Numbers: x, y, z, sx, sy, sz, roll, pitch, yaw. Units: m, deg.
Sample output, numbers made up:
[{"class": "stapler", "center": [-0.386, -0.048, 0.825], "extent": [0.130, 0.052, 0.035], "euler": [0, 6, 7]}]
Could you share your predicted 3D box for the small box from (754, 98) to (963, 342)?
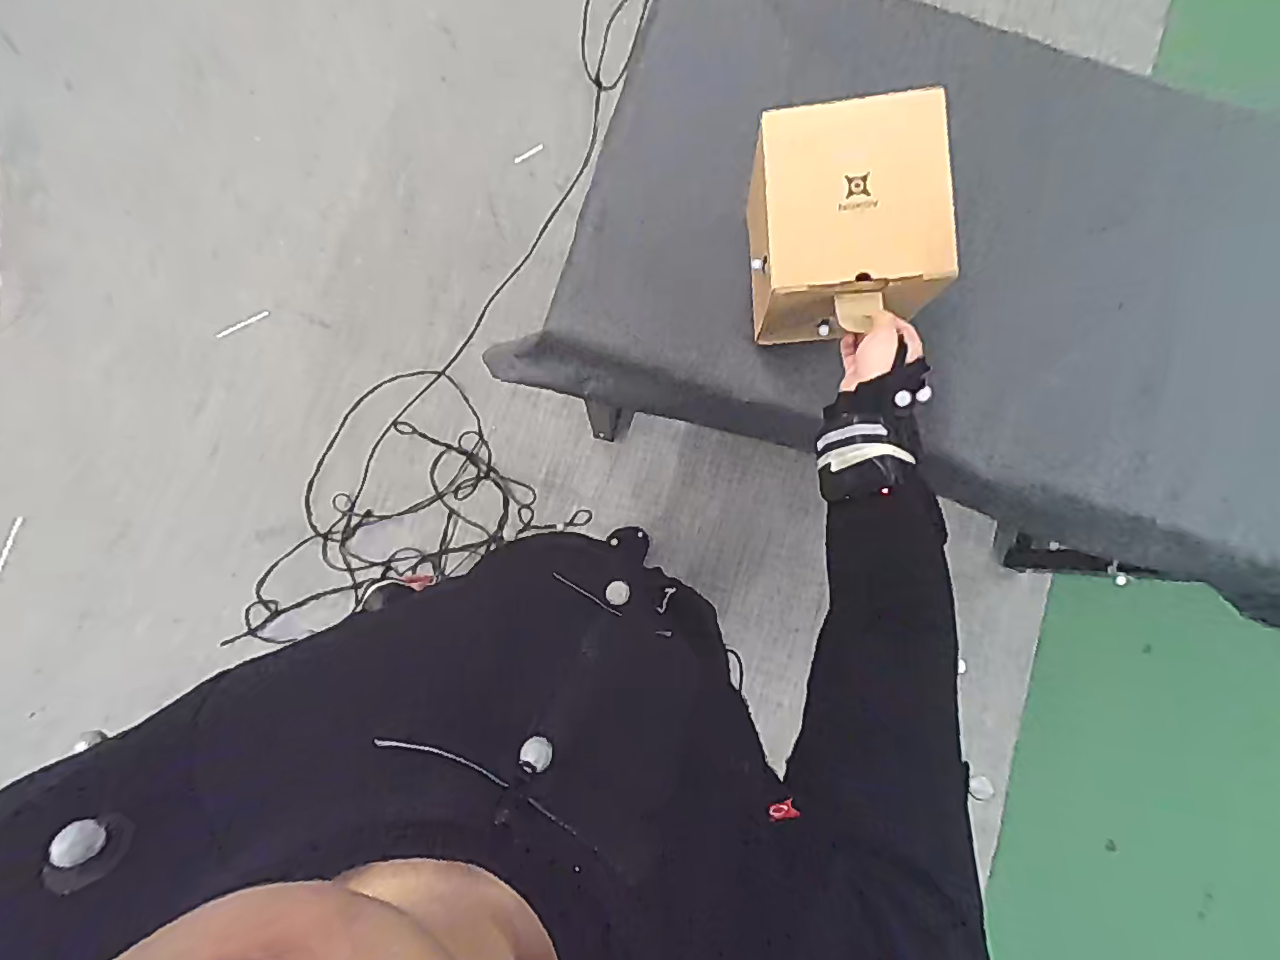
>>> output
[{"class": "small box", "center": [0.218, -0.263, 0.585], "extent": [0.168, 0.176, 0.179], "euler": [-3, 88, 6]}]
